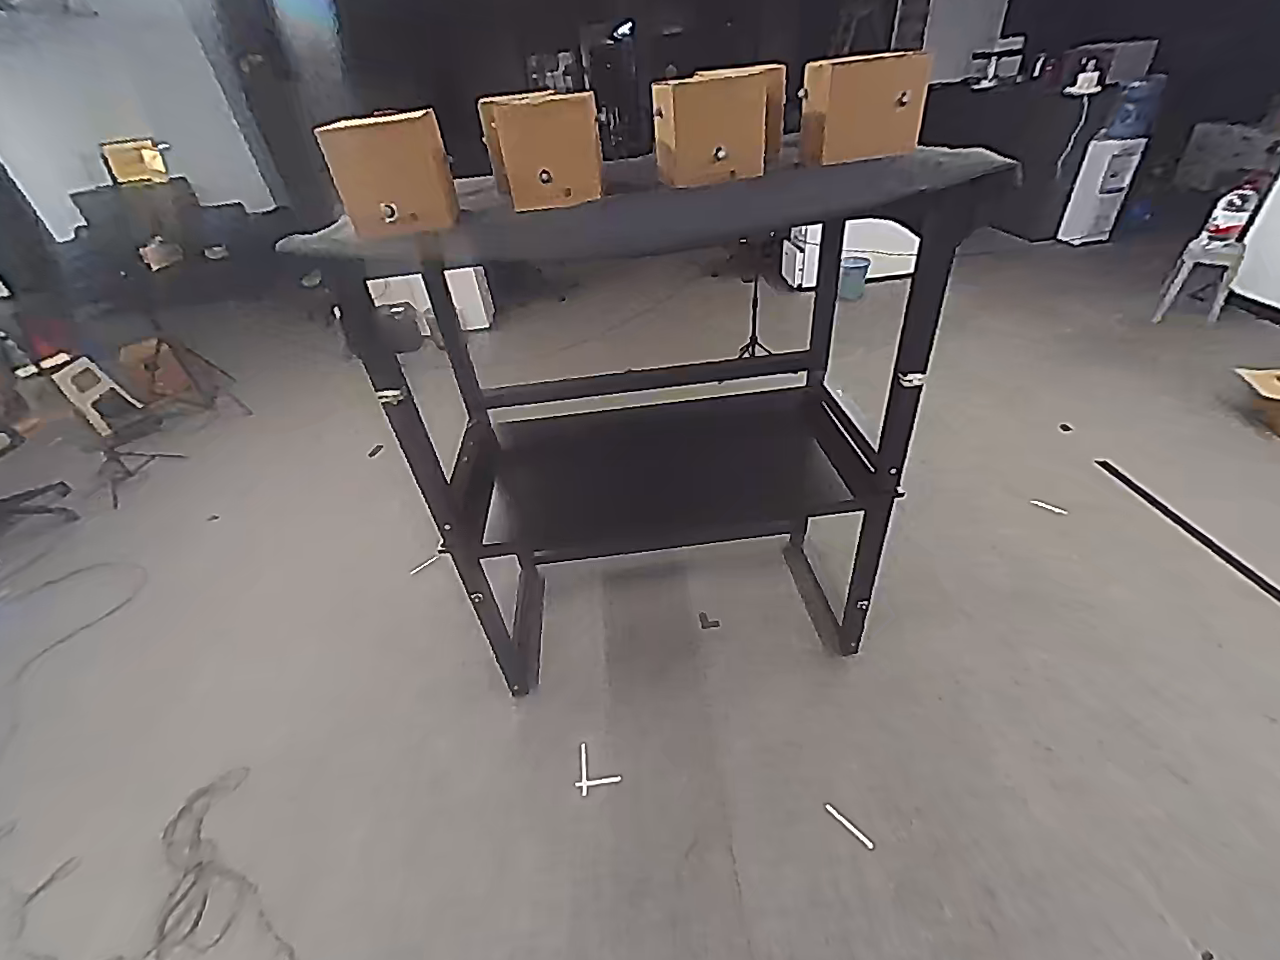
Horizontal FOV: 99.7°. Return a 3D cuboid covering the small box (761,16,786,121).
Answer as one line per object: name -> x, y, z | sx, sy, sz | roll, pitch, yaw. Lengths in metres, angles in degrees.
small box -> 0.206, -0.881, 1.169 | 0.168, 0.176, 0.179 | -7, 38, 0

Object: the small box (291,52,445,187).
small box -> -0.440, -0.605, 0.910 | 0.168, 0.176, 0.179 | -11, 39, -5

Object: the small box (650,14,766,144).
small box -> 0.116, -0.717, 0.975 | 0.168, 0.176, 0.179 | -11, 38, -5
